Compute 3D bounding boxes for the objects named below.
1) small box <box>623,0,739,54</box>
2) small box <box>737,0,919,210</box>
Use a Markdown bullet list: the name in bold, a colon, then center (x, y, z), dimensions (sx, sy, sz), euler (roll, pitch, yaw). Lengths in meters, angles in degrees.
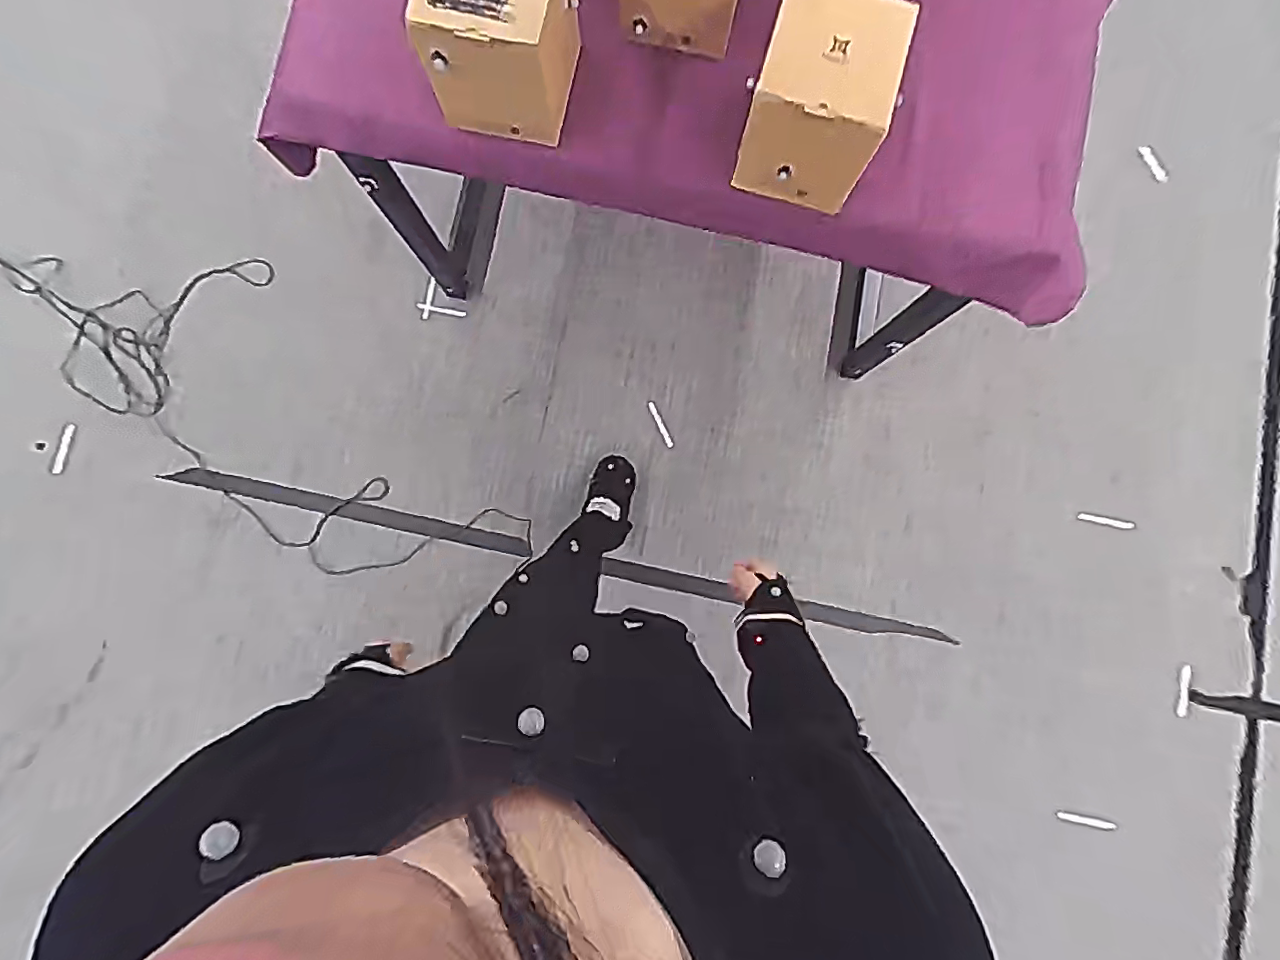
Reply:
- **small box**: center (0.070, -0.751, 0.754), dimensions (0.168, 0.176, 0.179), euler (12, 84, 0)
- **small box**: center (0.240, -0.511, 0.734), dimensions (0.168, 0.176, 0.179), euler (16, 84, 1)
